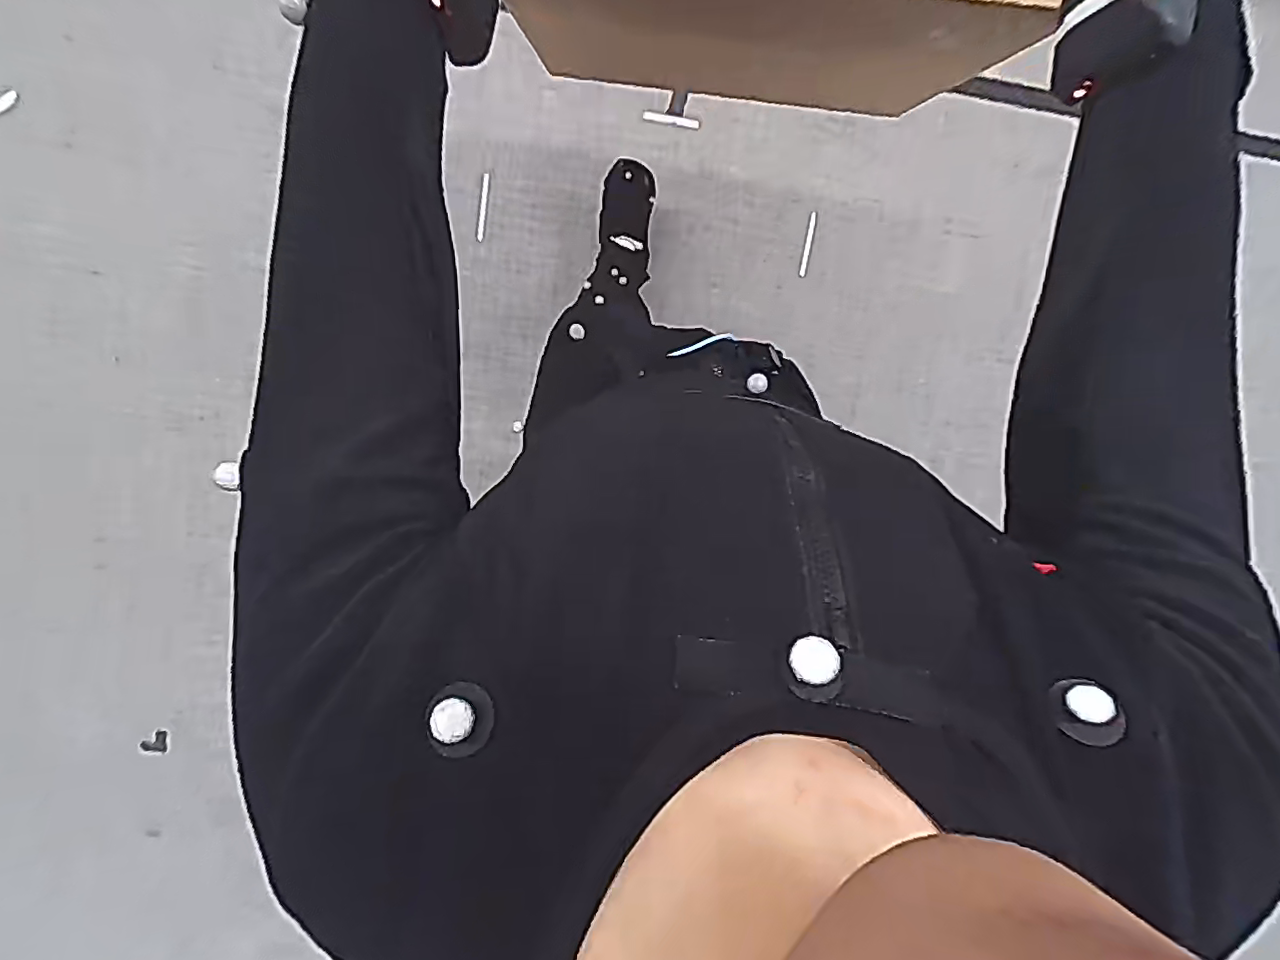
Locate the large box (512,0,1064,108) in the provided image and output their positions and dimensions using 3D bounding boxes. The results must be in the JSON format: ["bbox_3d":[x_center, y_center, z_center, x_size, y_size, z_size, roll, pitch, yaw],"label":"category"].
[{"bbox_3d":[0.103,-0.529,0.431,0.408,0.320,0.320,5,114,-1],"label":"large box"}]
